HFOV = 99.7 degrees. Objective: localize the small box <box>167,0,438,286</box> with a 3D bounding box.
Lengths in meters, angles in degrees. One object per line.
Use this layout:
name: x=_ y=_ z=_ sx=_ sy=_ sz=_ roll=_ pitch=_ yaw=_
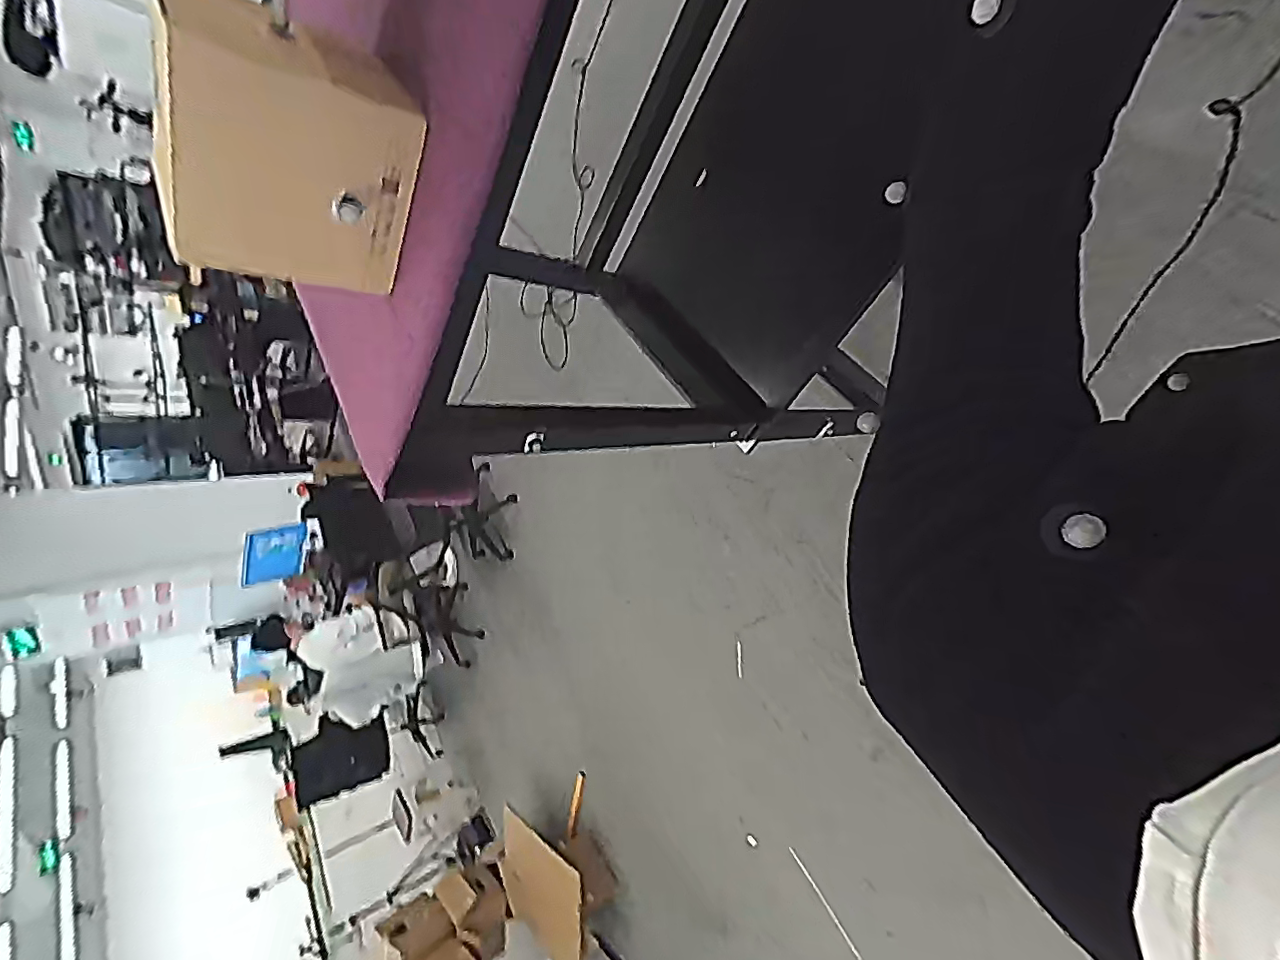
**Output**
small box: x=-0.306 y=-0.297 z=0.487 sx=0.179 sy=0.176 sz=0.168 roll=54 pitch=129 yaw=29
